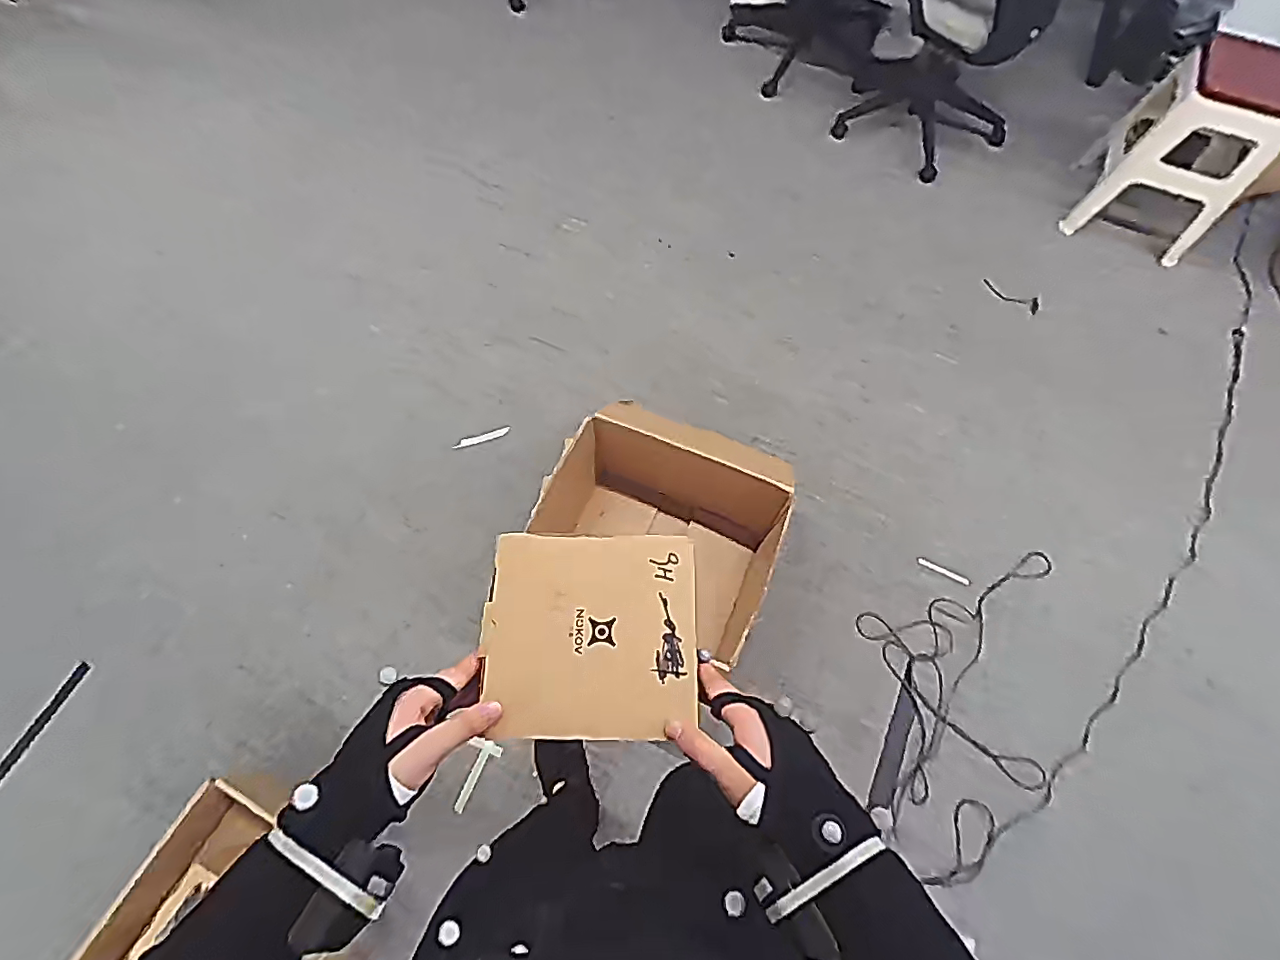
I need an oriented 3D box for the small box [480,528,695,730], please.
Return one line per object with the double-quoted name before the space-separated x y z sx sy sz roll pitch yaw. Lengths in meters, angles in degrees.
"small box" -0.039 0.151 0.532 0.179 0.176 0.168 1 68 1
